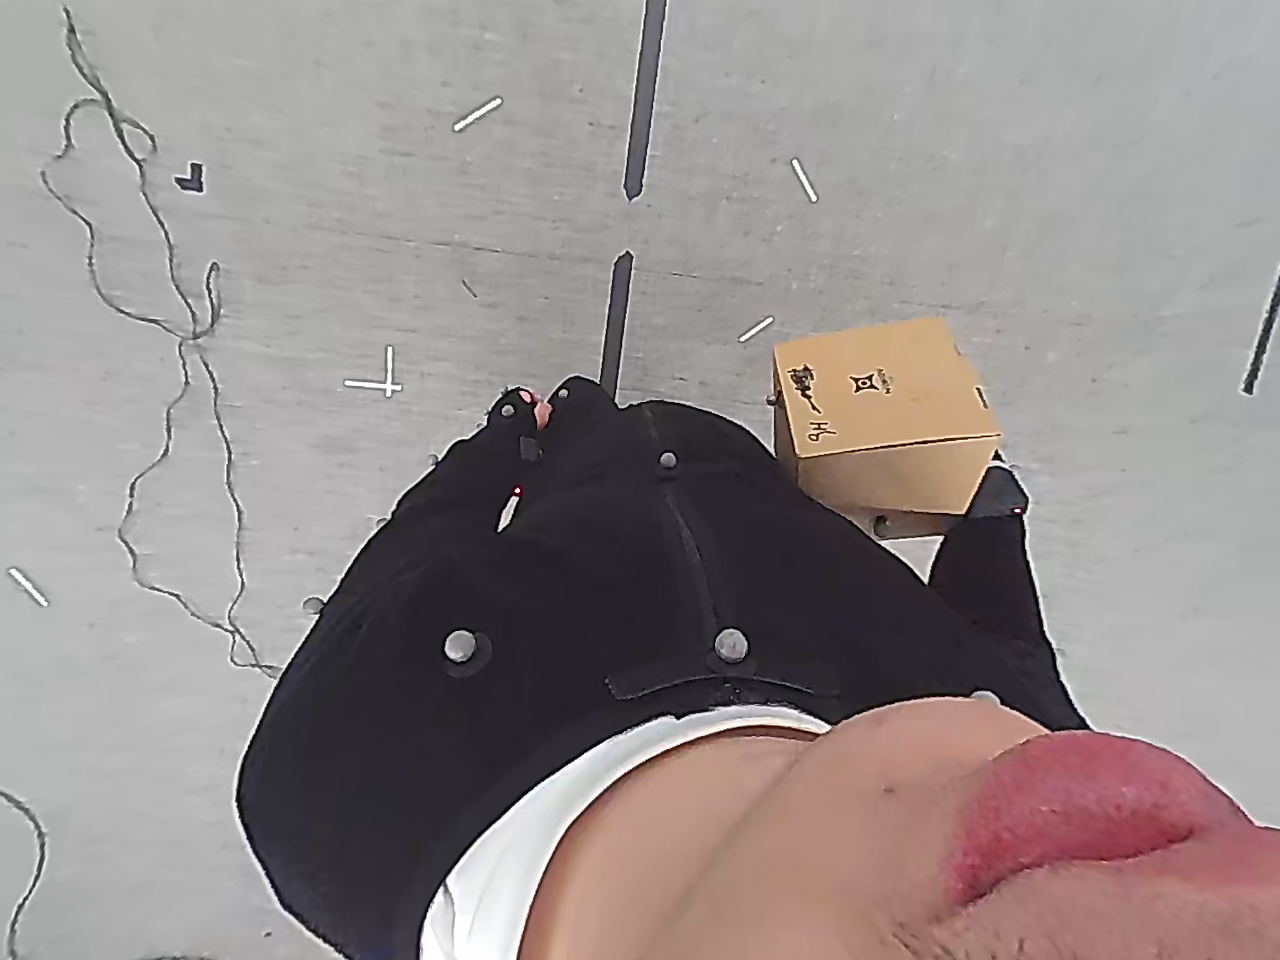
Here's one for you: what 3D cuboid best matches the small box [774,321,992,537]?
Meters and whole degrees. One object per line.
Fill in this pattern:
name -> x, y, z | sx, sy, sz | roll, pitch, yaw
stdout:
small box -> 0.251, -0.051, 0.611 | 0.179, 0.168, 0.176 | -7, 141, 9
